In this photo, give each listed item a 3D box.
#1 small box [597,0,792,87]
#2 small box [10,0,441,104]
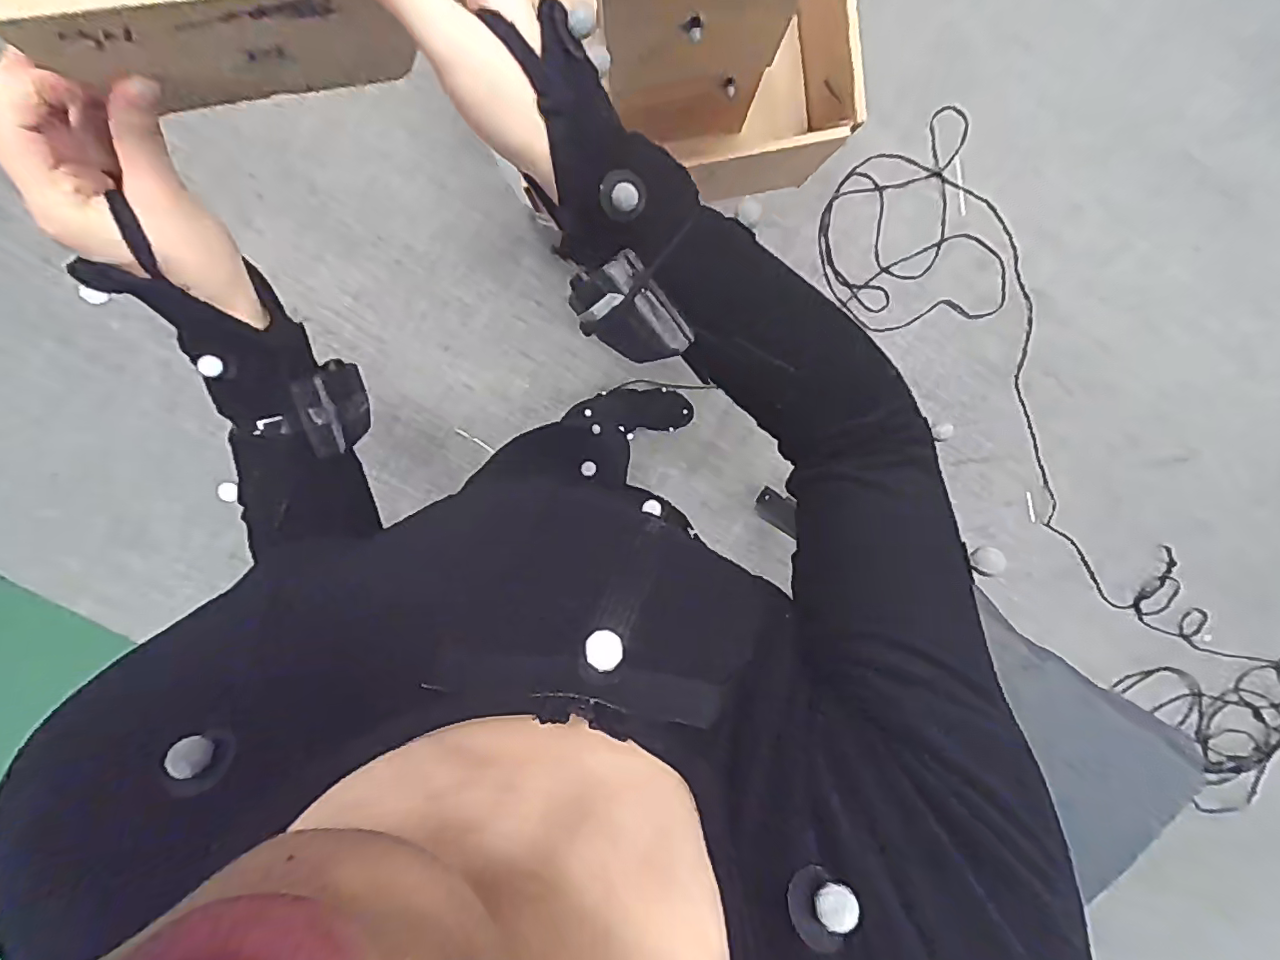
[{"bbox_3d":[0.043,-0.493,0.482,0.179,0.176,0.168,-8,99,1],"label":"small box"},{"bbox_3d":[-0.212,-0.303,0.252,0.168,0.179,0.176,-24,120,-18],"label":"small box"}]
